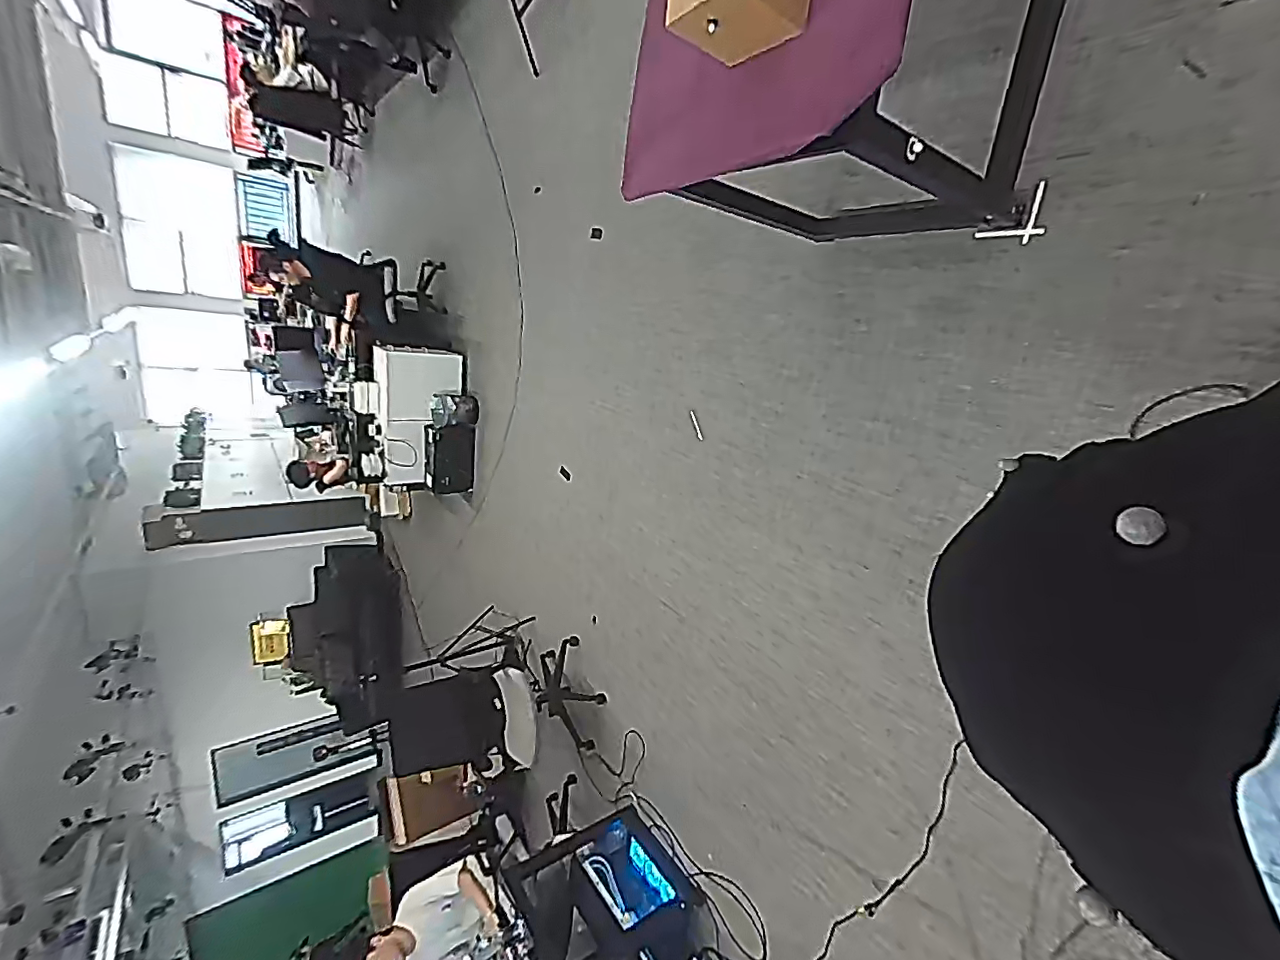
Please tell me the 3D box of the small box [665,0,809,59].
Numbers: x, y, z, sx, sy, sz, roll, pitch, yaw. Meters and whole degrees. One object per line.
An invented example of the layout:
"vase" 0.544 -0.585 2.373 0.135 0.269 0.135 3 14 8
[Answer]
"small box" 0.167 -0.839 0.889 0.179 0.176 0.168 23 111 50
